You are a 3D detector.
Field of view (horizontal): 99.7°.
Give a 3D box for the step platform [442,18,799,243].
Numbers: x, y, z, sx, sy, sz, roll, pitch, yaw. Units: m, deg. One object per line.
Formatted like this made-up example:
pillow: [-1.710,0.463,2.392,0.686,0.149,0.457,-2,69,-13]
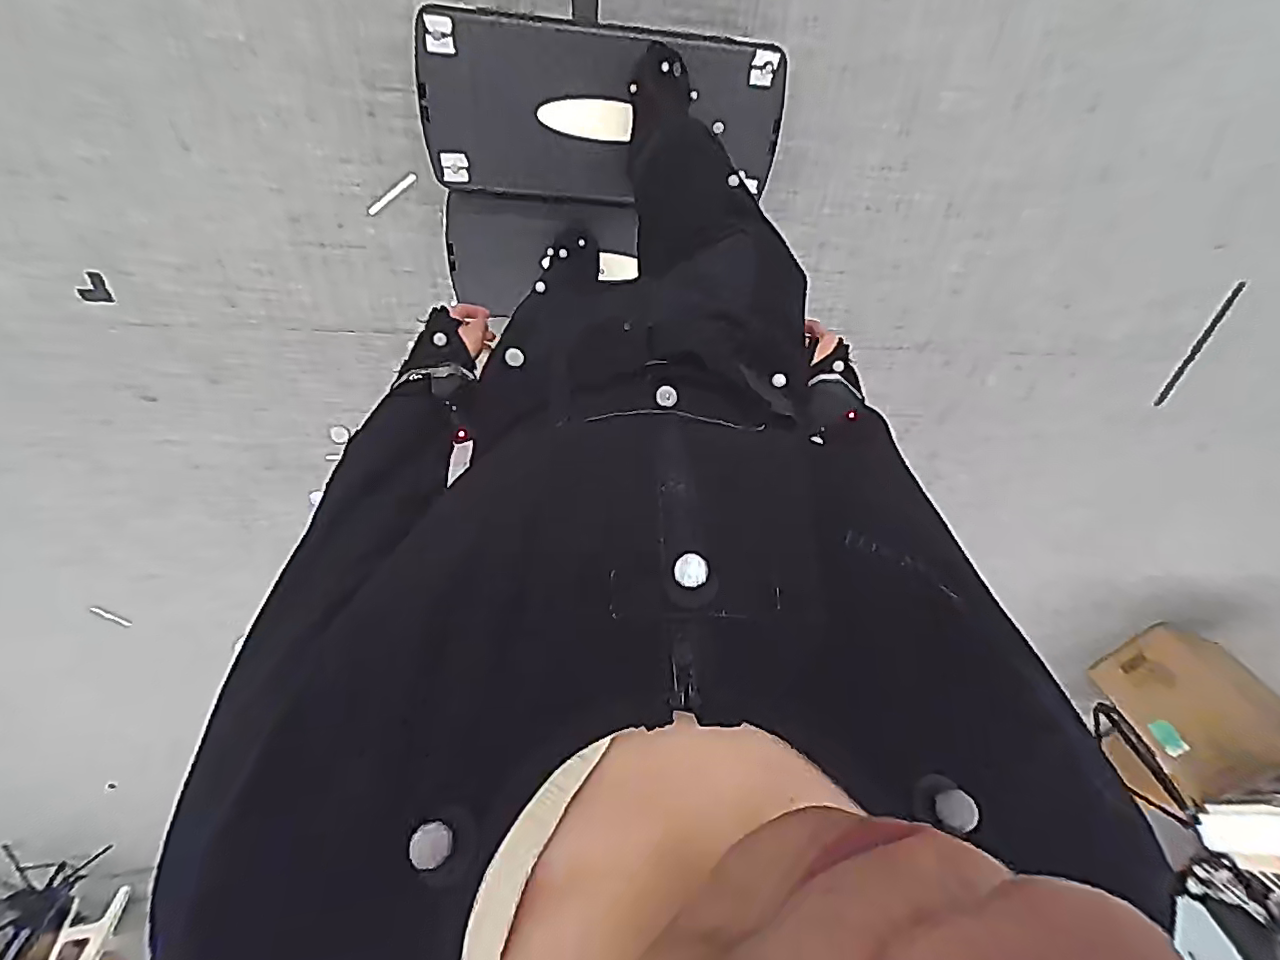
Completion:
step platform: [-0.038,-0.684,1.092,0.684,0.204,0.286,4,125,-10]
